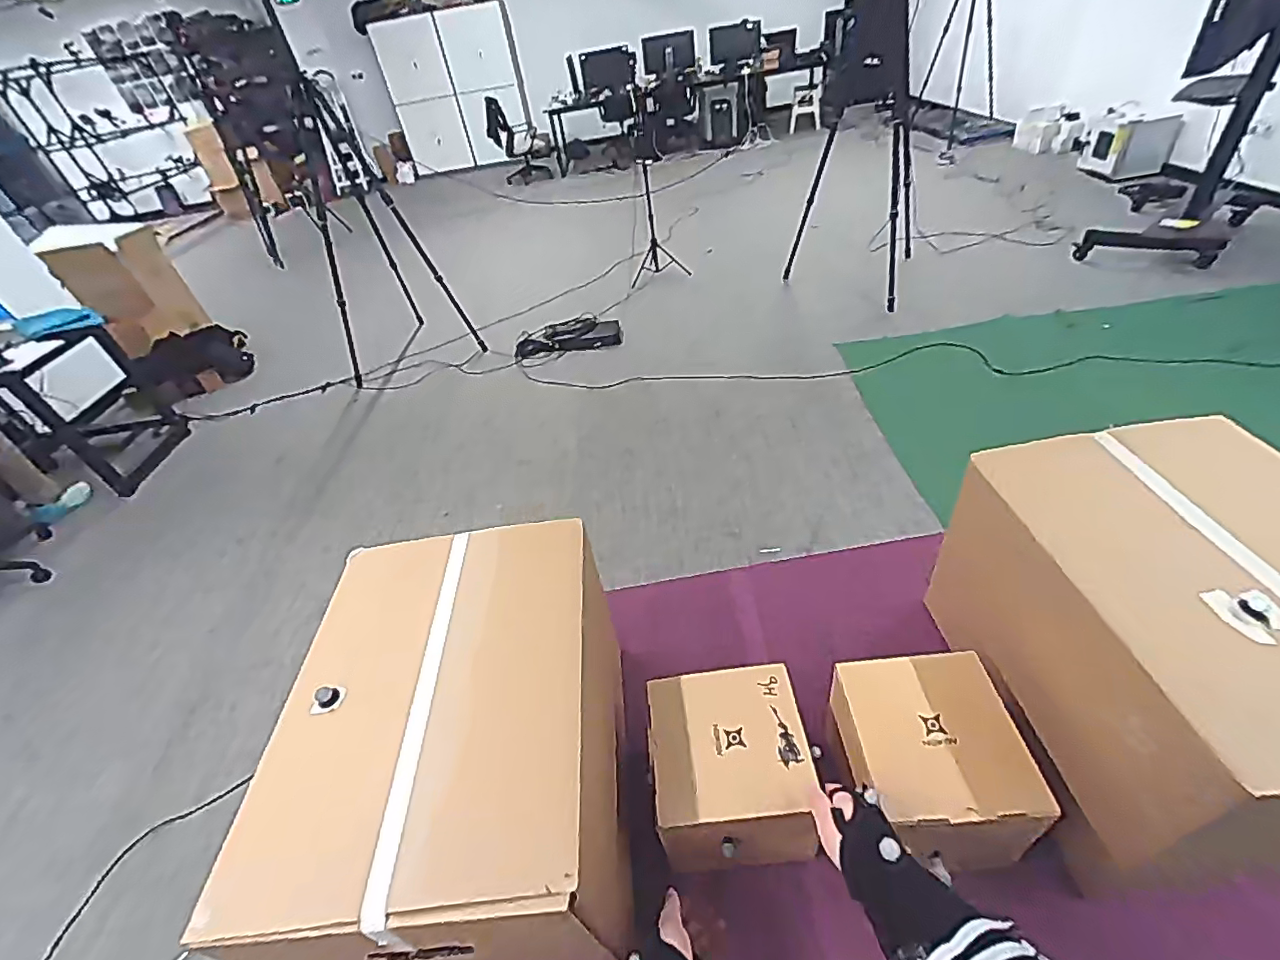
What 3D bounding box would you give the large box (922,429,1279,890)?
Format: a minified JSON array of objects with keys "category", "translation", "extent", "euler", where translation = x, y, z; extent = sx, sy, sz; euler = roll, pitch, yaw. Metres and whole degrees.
[{"category":"large box","translation":[0.603,0.193,0.639],"extent":[0.320,0.320,0.408],"euler":[-8,41,3]}]
